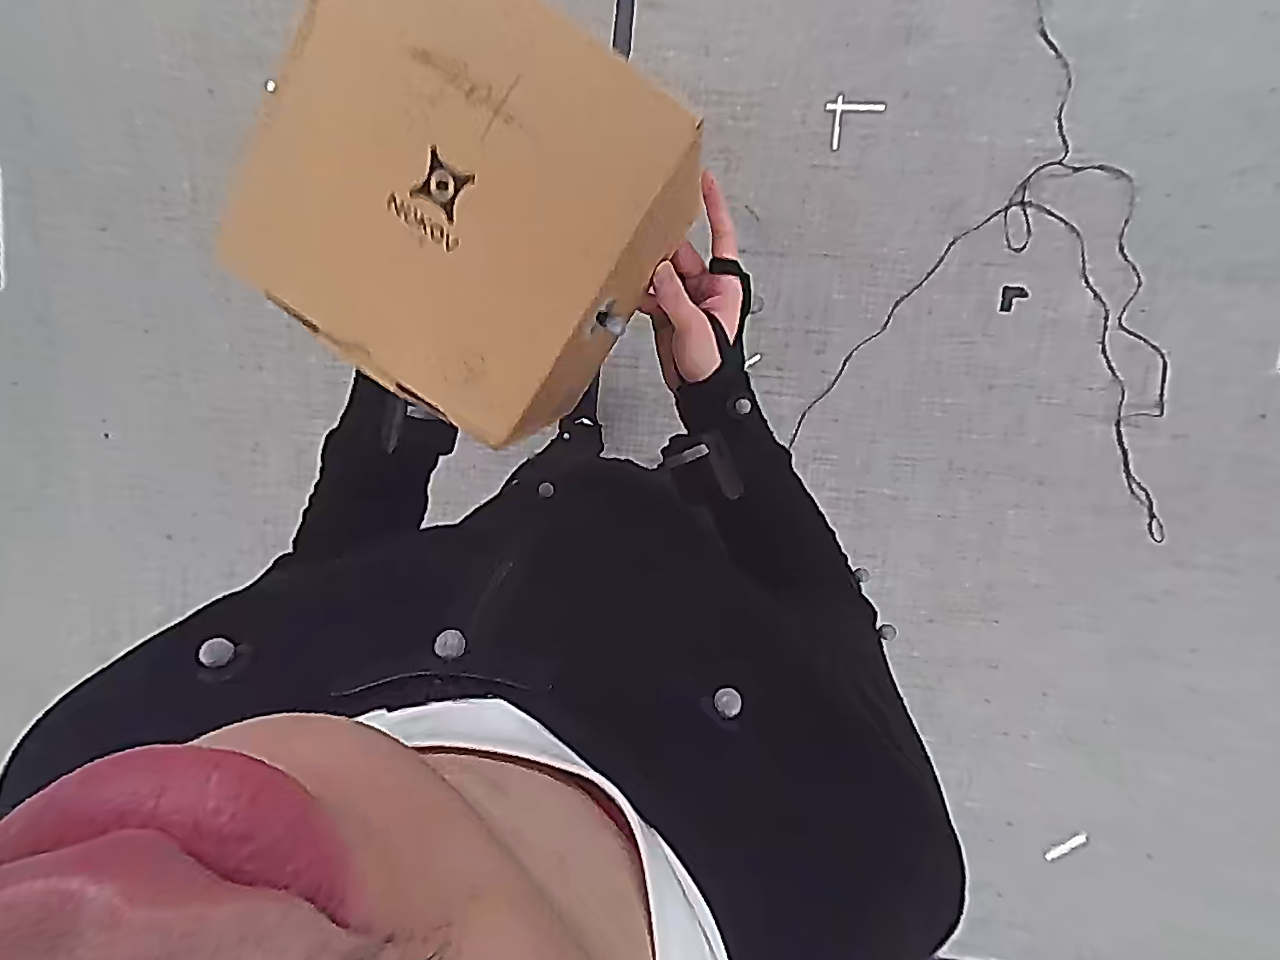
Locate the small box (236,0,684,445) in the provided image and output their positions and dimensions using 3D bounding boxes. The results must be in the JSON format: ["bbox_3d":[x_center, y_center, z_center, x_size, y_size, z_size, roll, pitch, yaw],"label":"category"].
[{"bbox_3d":[-0.083,-0.149,0.332,0.168,0.176,0.179,33,105,-5],"label":"small box"}]
